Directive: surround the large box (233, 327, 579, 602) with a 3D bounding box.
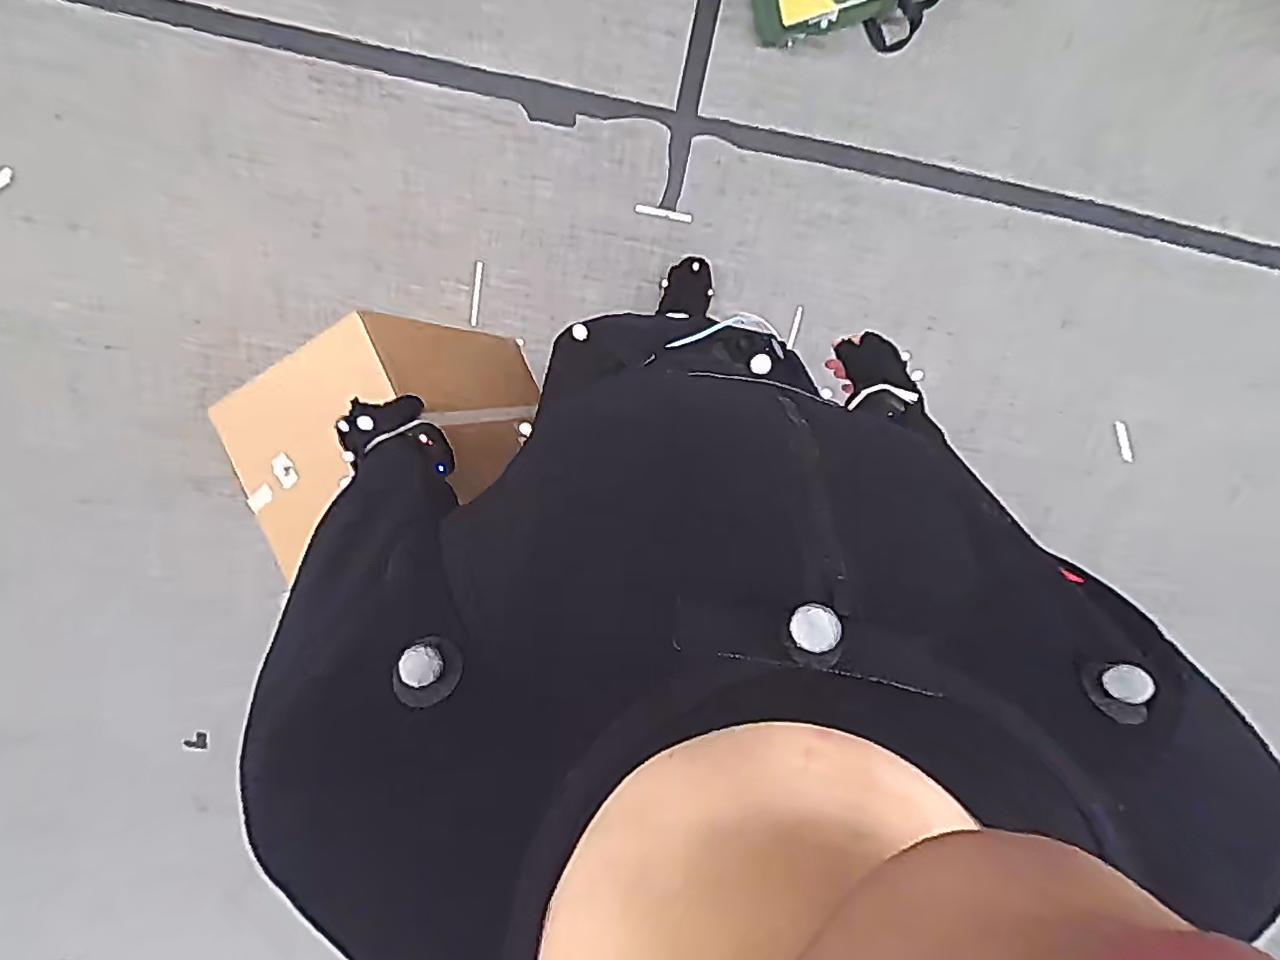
[{"bbox_3d":[-0.367,-0.038,0.946,0.320,0.408,0.320,-23,92,18],"label":"large box"}]
